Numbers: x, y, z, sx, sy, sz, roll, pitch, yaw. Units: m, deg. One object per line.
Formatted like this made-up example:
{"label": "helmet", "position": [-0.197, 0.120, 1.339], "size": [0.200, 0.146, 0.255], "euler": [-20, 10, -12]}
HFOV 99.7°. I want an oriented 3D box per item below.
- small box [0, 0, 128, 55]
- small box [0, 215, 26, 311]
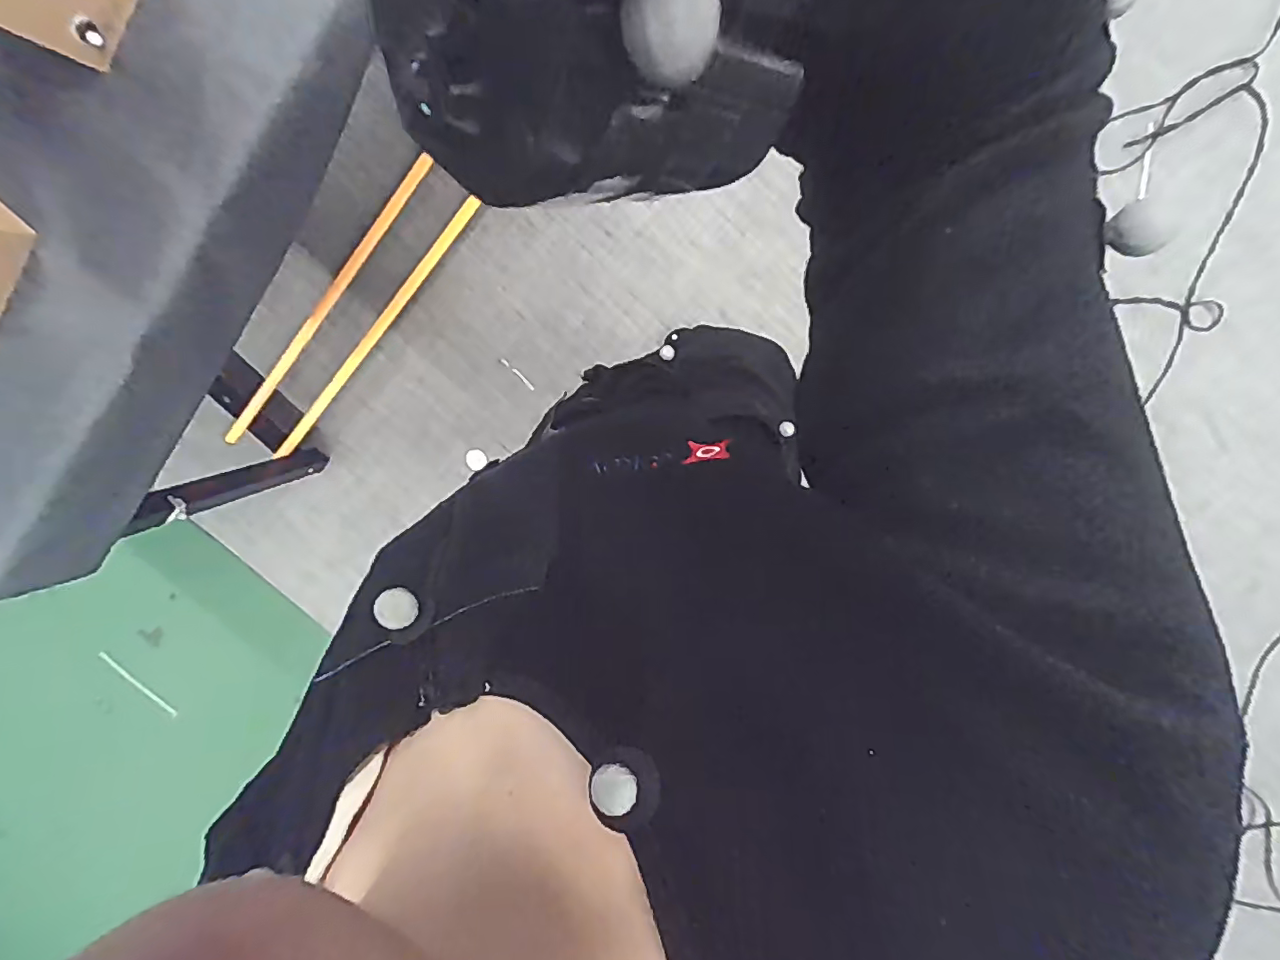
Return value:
{"label": "small box", "position": [-0.596, -0.531, 0.478], "size": [0.179, 0.176, 0.168], "euler": [43, 104, -3]}
{"label": "small box", "position": [-0.835, -0.260, 0.575], "size": [0.168, 0.176, 0.179], "euler": [43, 105, -3]}
